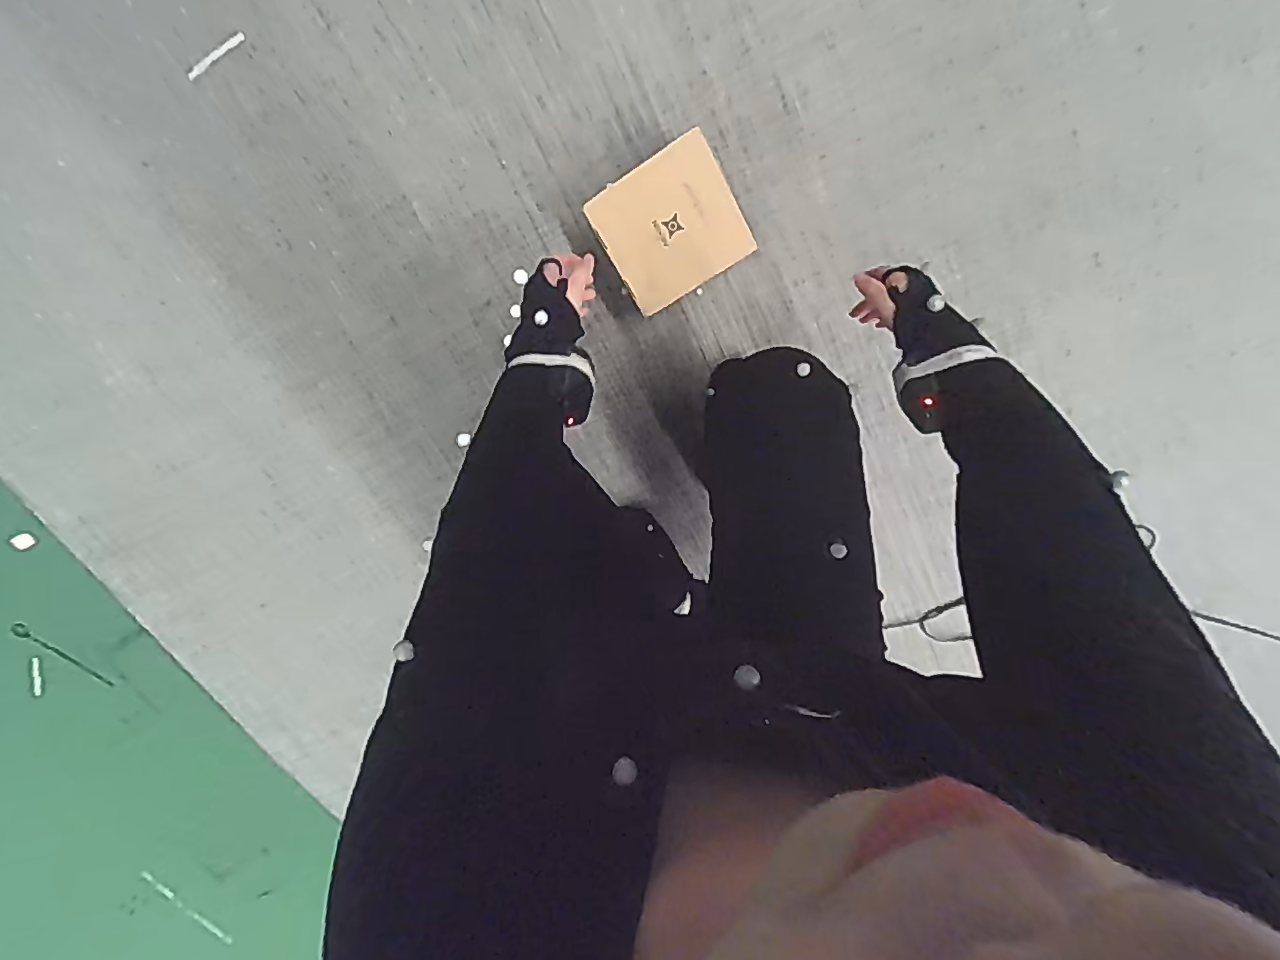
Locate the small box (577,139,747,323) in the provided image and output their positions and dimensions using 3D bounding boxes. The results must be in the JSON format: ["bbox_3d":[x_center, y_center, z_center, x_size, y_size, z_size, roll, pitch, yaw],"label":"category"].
[{"bbox_3d":[0.033,-0.349,0.787,0.179,0.176,0.168,-28,108,12],"label":"small box"}]
